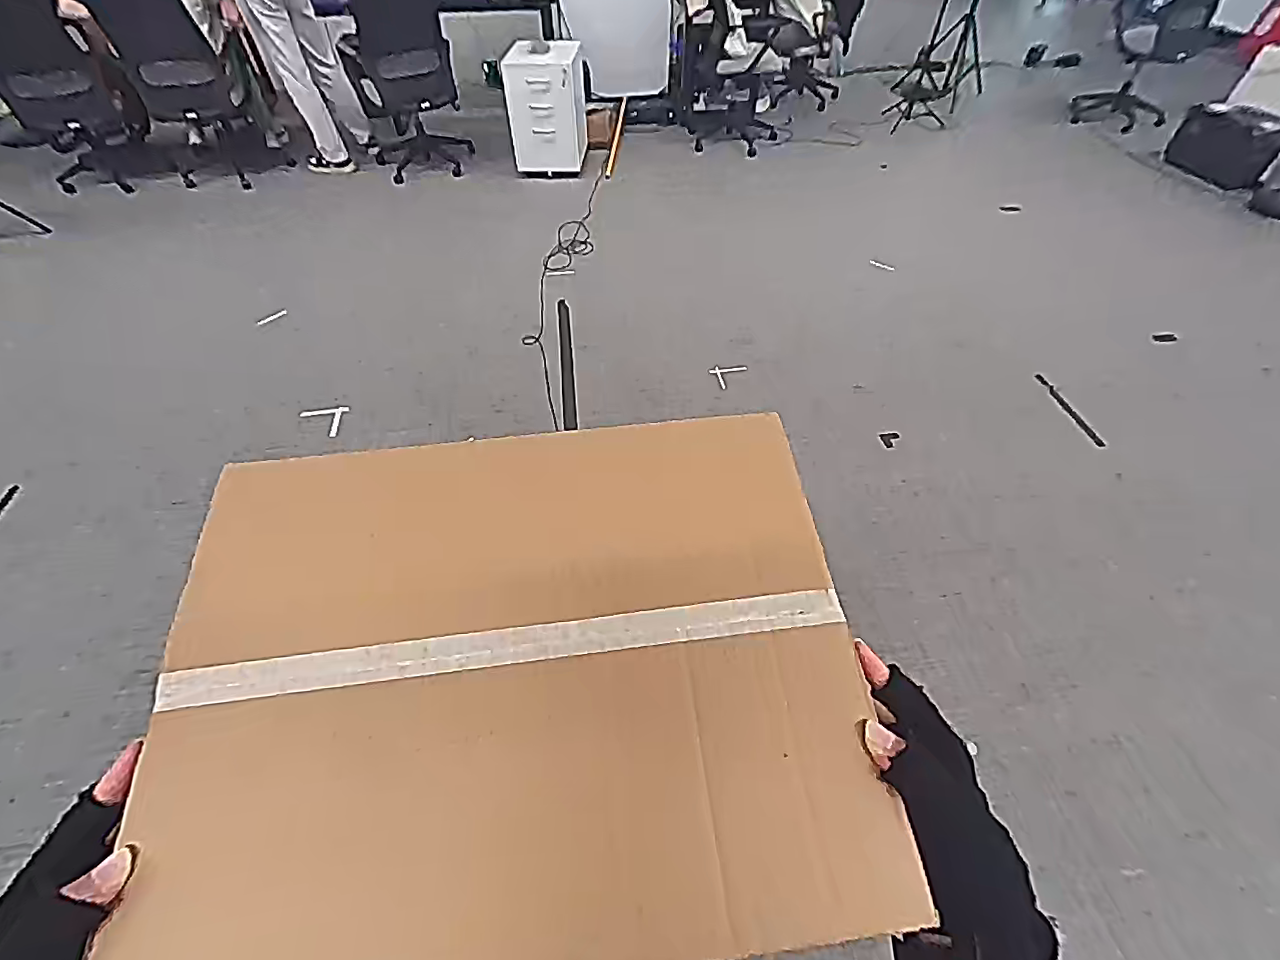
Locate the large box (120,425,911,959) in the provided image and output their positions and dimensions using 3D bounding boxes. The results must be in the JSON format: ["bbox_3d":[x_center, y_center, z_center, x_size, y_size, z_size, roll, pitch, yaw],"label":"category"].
[{"bbox_3d":[-0.075,0.184,0.466,0.408,0.320,0.320,-6,61,-4],"label":"large box"}]
